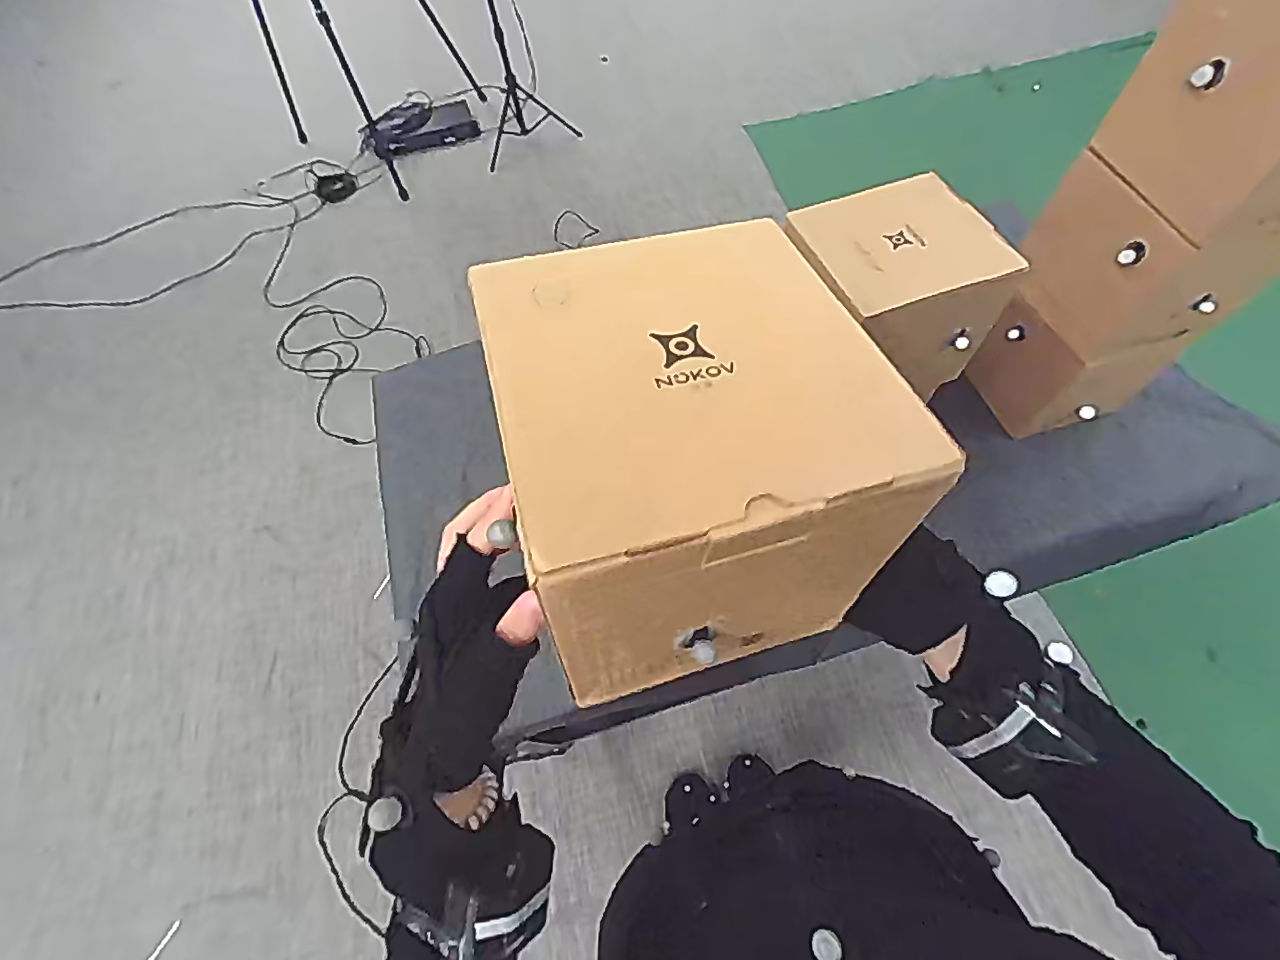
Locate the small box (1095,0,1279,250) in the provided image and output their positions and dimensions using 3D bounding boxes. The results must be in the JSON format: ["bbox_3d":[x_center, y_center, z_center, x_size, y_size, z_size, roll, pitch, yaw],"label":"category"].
[{"bbox_3d":[0.569,-0.337,0.475,0.168,0.176,0.179,-12,61,-1],"label":"small box"}]

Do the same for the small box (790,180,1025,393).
[{"bbox_3d":[0.269,-0.197,0.615,0.179,0.176,0.168,-18,61,-4],"label":"small box"}]

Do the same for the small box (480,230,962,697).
[{"bbox_3d":[0.019,-0.008,0.302,0.168,0.176,0.179,-14,55,-11],"label":"small box"}]

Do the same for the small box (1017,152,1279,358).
[{"bbox_3d":[0.583,-0.261,0.620,0.168,0.176,0.179,-14,61,-2],"label":"small box"}]
